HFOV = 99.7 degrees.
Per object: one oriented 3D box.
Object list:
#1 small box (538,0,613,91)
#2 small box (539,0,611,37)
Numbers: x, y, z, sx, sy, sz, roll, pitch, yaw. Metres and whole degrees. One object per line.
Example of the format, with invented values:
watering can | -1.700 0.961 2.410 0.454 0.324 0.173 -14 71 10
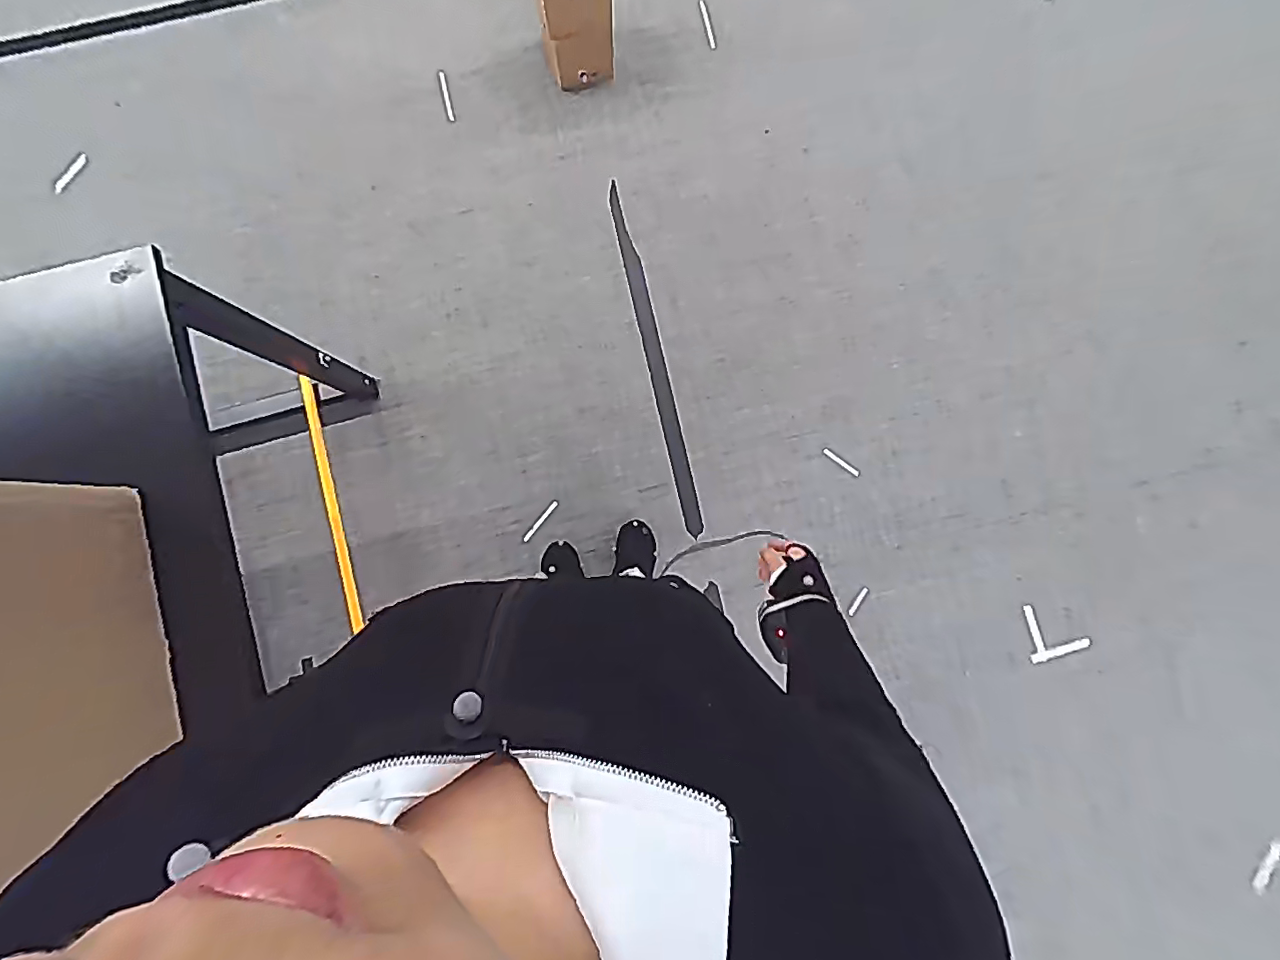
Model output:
small box | -0.179 -1.243 1.506 0.168 0.176 0.179 -19 88 -2
small box | -0.175 -1.255 1.342 0.179 0.176 0.168 -15 87 -2
